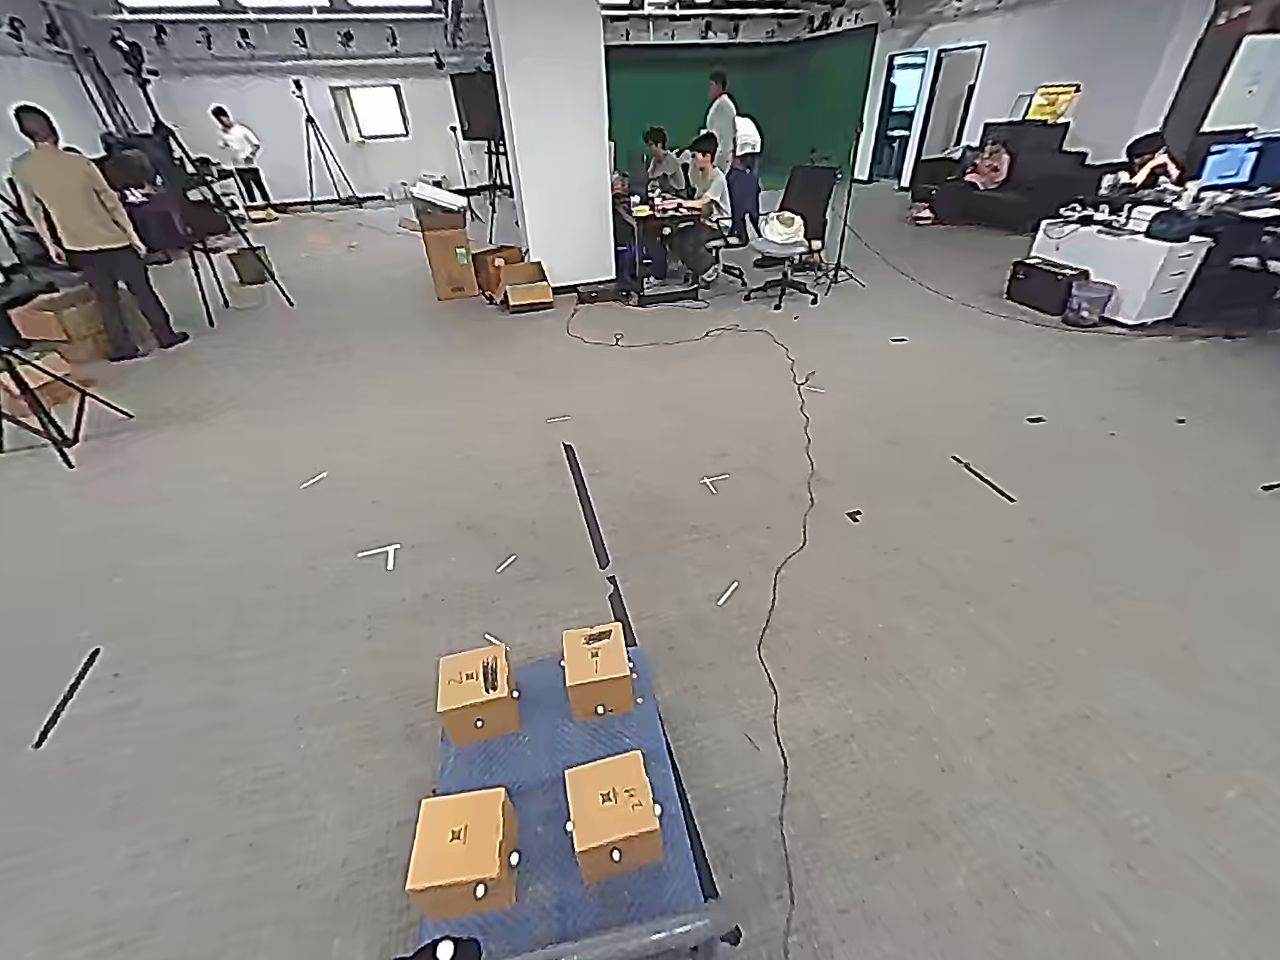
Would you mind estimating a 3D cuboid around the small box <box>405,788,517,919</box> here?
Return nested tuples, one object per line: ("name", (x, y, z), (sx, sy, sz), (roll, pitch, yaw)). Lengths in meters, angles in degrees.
("small box", (-0.363, 0.779, 1.127), (0.179, 0.176, 0.168), (-5, 35, -6))

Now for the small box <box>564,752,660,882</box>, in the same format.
("small box", (-0.060, 0.731, 1.172), (0.179, 0.176, 0.168), (-10, 36, -9))

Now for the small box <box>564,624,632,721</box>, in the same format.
("small box", (-0.116, 0.523, 1.474), (0.168, 0.176, 0.179), (-7, 36, -7))
